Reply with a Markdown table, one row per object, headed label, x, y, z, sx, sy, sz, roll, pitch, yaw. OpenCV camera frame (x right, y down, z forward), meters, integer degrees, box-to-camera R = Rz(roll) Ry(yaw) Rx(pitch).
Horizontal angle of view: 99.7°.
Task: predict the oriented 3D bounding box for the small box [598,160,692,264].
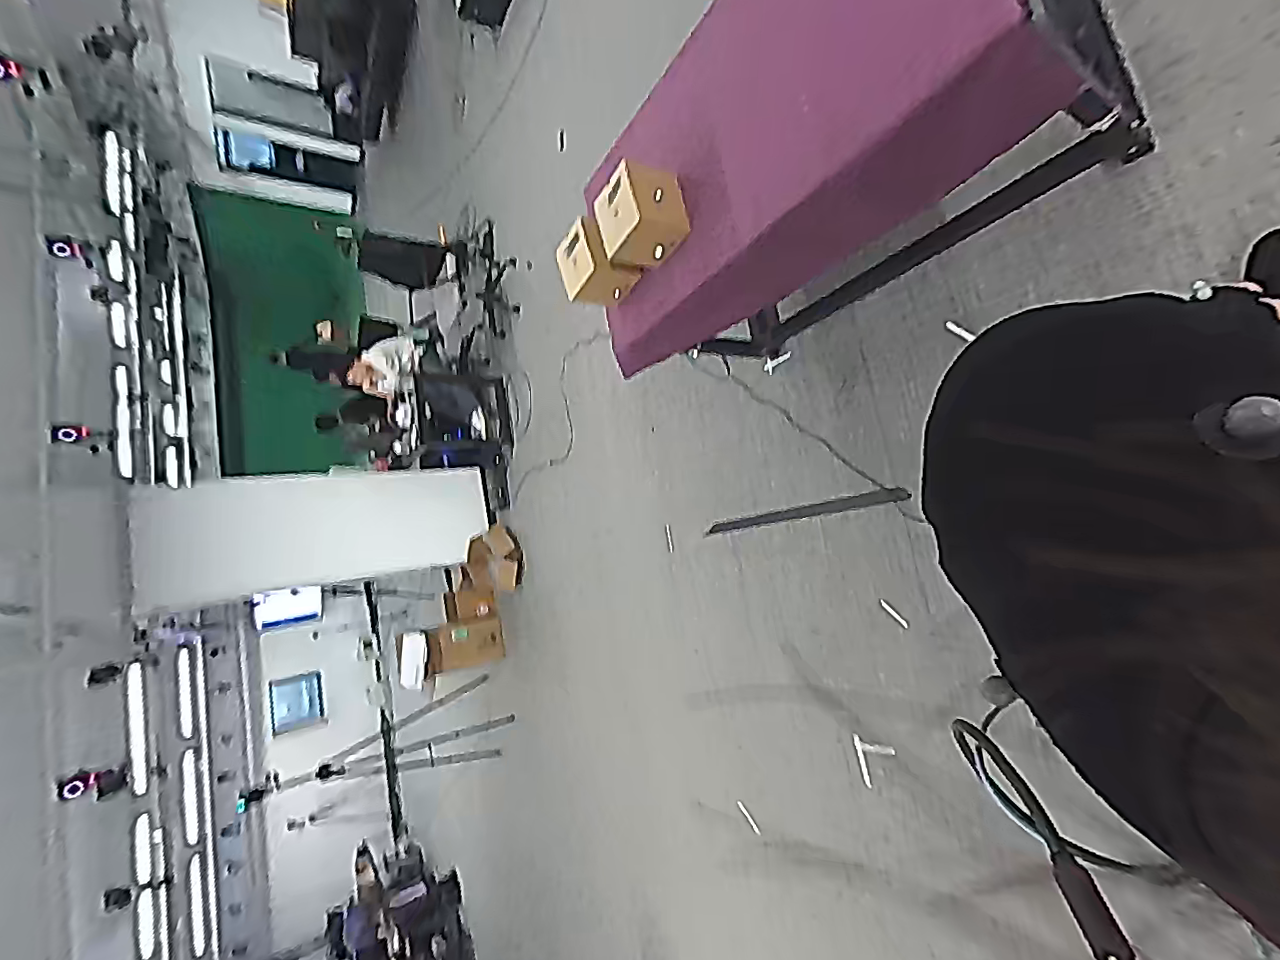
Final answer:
| label | x | y | z | sx | sy | sz | roll | pitch | yaw |
| --- | --- | --- | --- | --- | --- | --- | --- | --- | --- |
| small box | 0.013 | -0.703 | 1.439 | 0.168 | 0.176 | 0.179 | -29 | 71 | 54 |
